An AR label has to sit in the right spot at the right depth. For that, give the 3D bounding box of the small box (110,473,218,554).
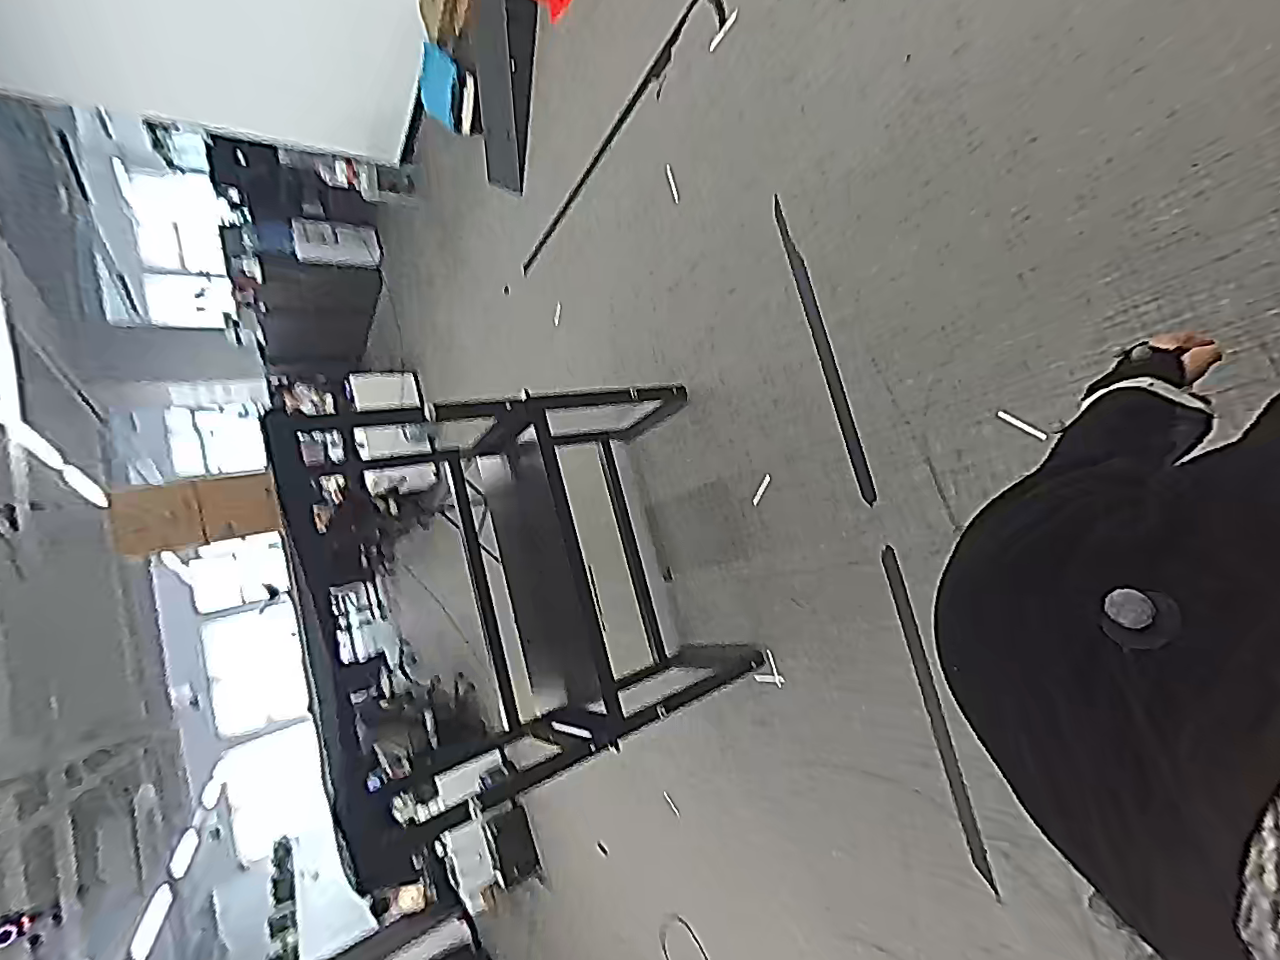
[{"bbox_3d":[-1.182,0.085,1.356,0.179,0.176,0.168,-17,86,56],"label":"small box"}]
